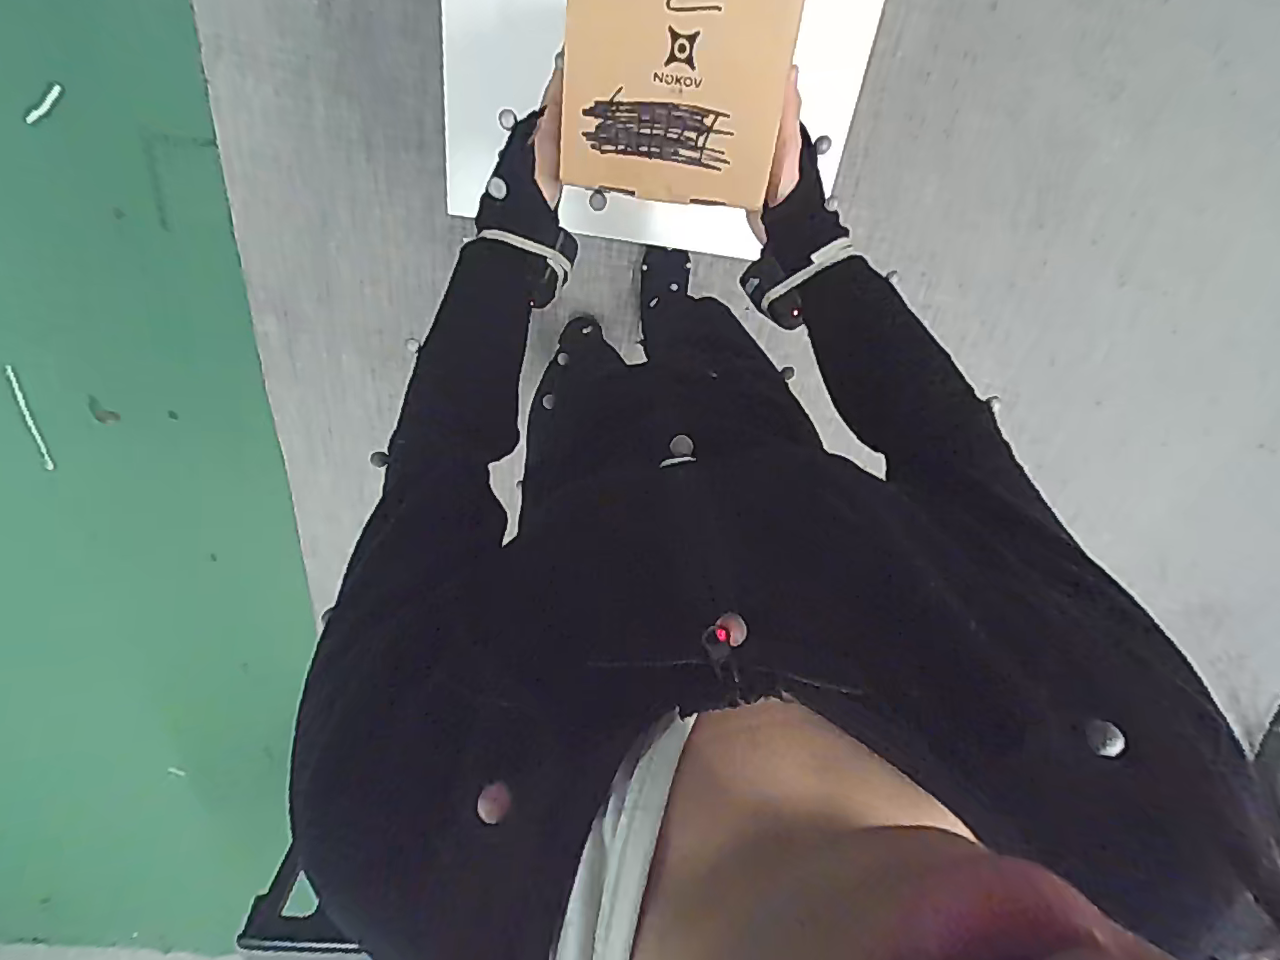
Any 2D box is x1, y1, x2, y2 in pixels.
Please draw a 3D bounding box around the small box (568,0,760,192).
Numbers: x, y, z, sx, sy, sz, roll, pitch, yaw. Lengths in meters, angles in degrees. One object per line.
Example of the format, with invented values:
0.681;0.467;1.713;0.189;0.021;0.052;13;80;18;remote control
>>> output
0.016;-0.424;0.588;0.168;0.176;0.179;7;117;-5;small box
